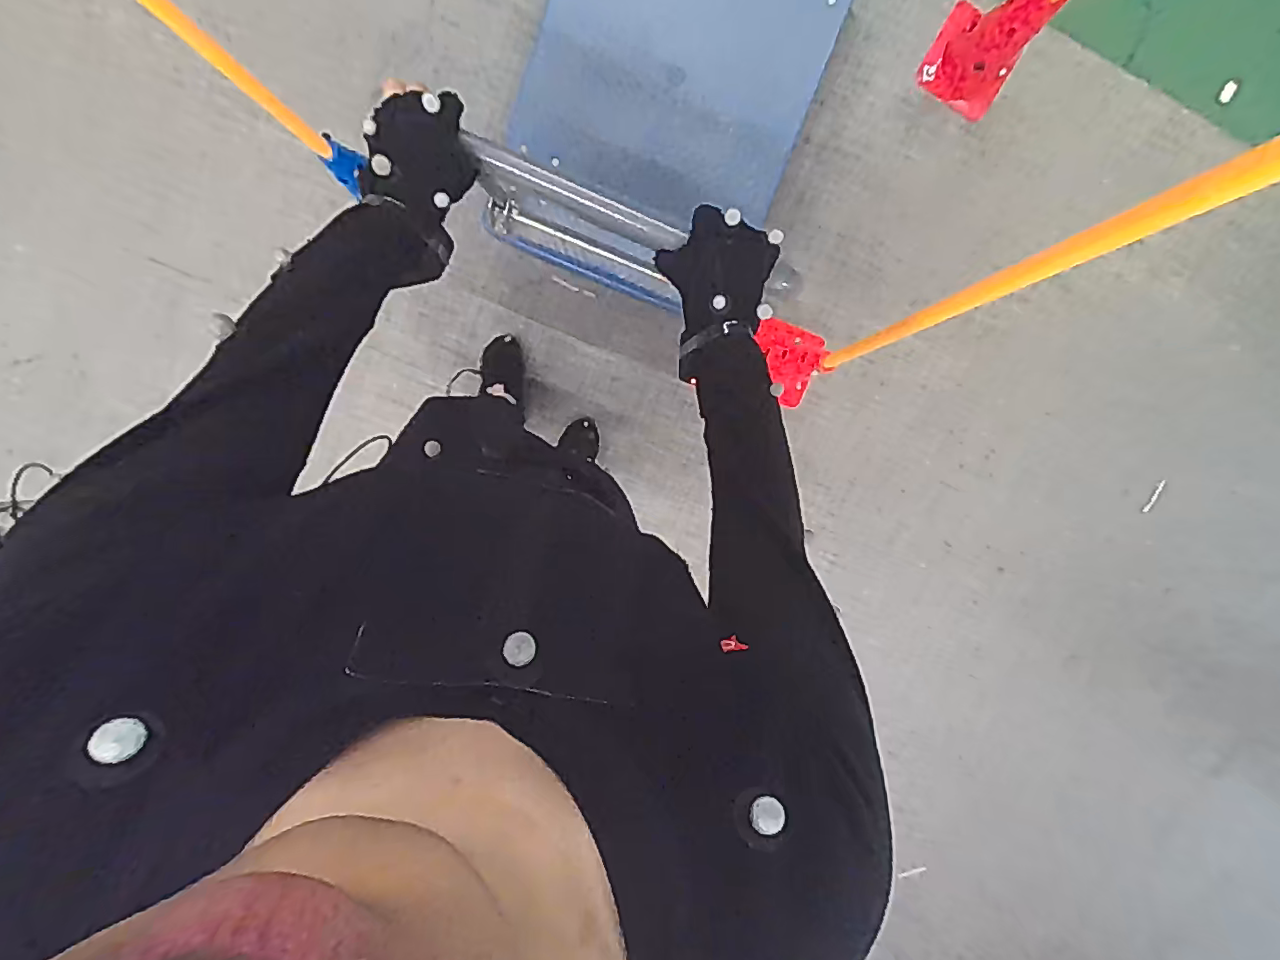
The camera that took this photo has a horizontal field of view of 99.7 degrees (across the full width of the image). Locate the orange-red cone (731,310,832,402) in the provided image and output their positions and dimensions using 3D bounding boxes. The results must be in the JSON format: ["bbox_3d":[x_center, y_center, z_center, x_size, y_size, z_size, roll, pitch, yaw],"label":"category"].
[{"bbox_3d":[0.365,-0.294,1.270,0.199,0.360,0.198,22,100,-6],"label":"orange-red cone"}]
